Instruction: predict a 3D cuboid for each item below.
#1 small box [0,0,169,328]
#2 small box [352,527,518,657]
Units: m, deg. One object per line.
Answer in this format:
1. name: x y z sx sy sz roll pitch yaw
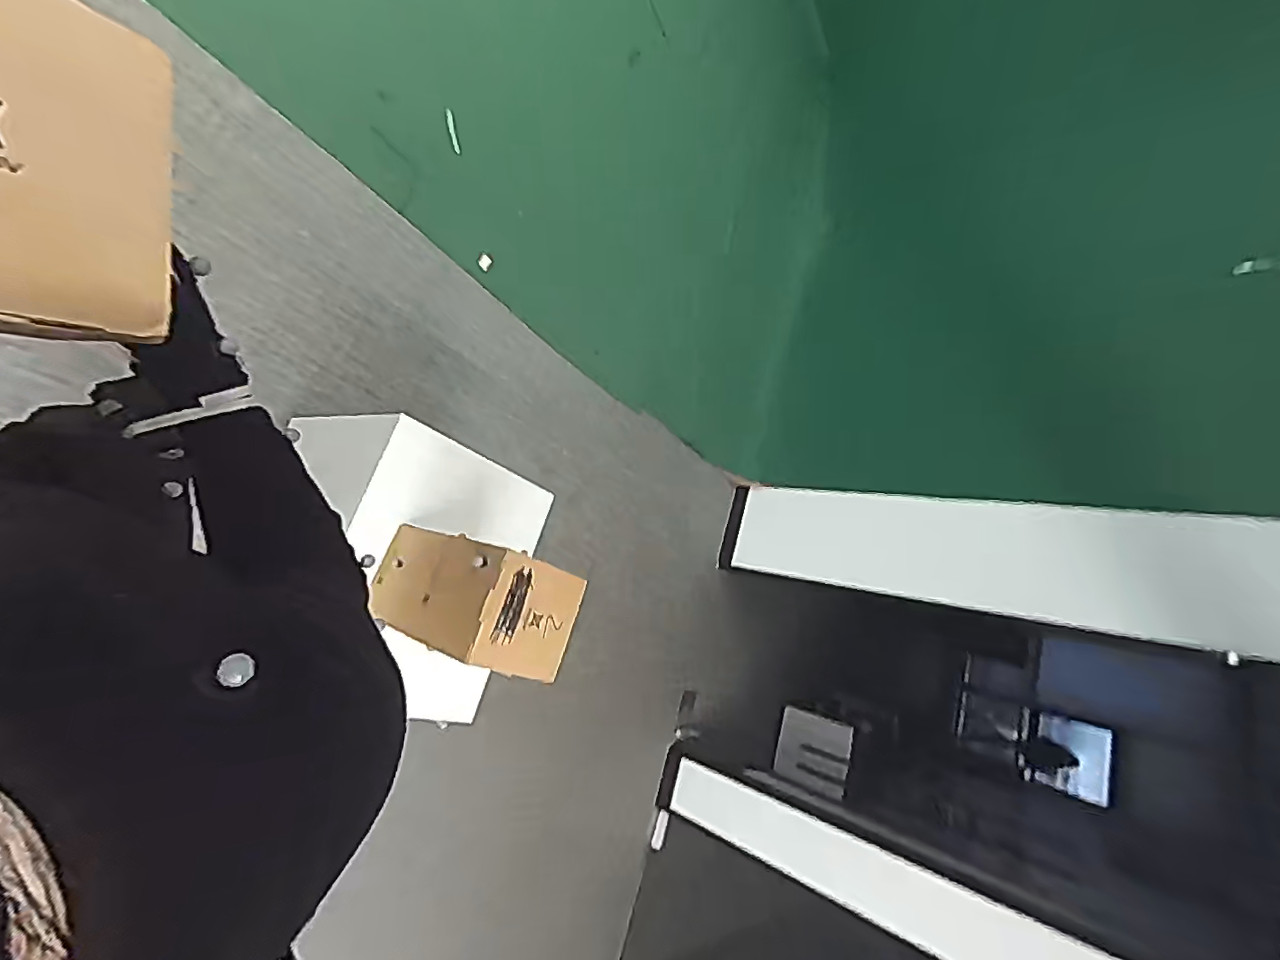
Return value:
1. small box: -0.388 -0.184 0.280 0.168 0.176 0.179 -7 103 -65
2. small box: -0.354 0.191 0.942 0.179 0.176 0.168 40 63 -46
